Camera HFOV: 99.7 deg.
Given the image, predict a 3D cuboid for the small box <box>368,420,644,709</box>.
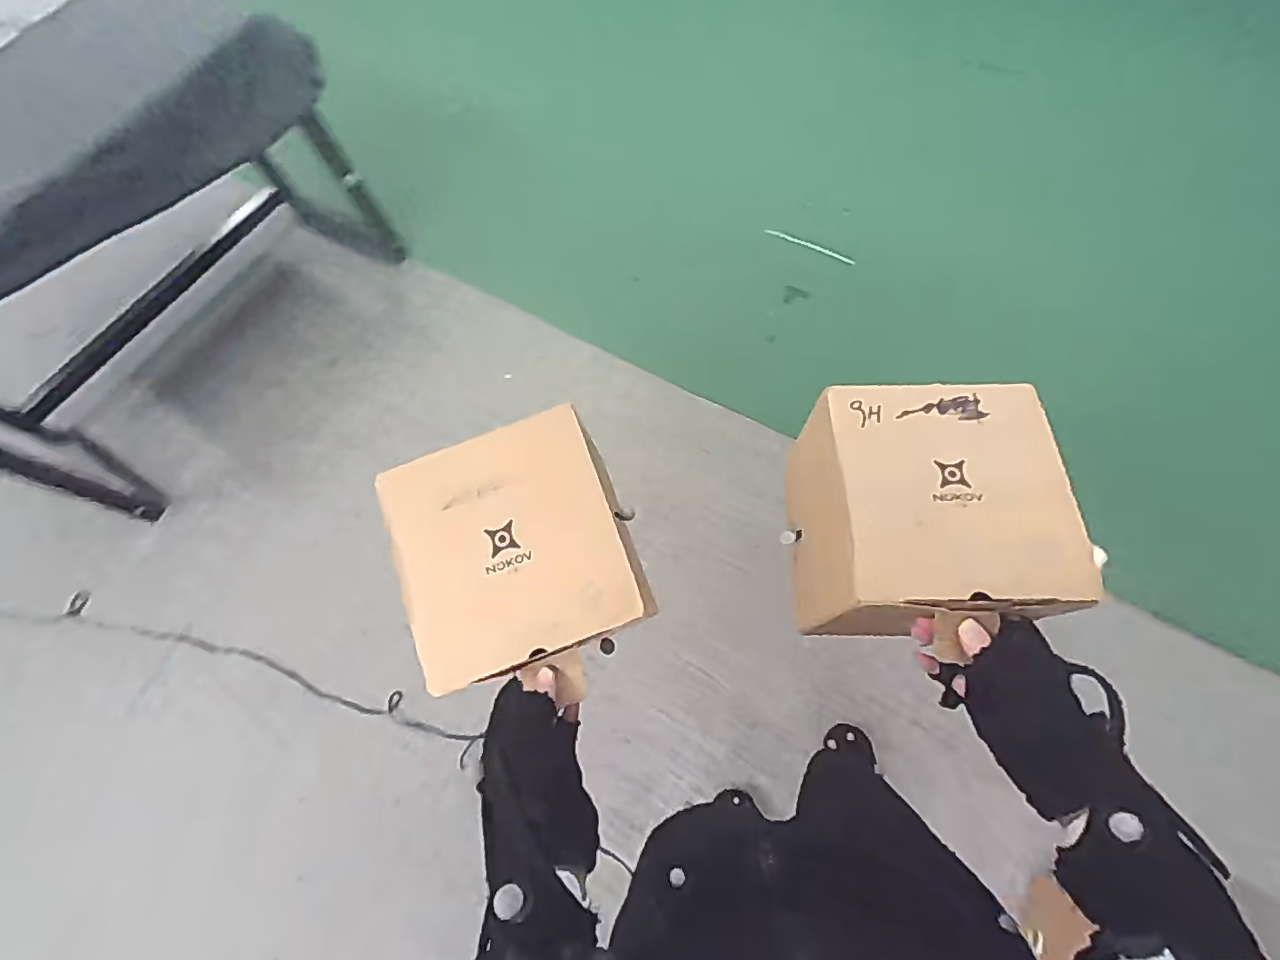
[{"bbox_3d":[-0.102,0.075,0.486,0.168,0.176,0.179,-23,76,-2],"label":"small box"}]
